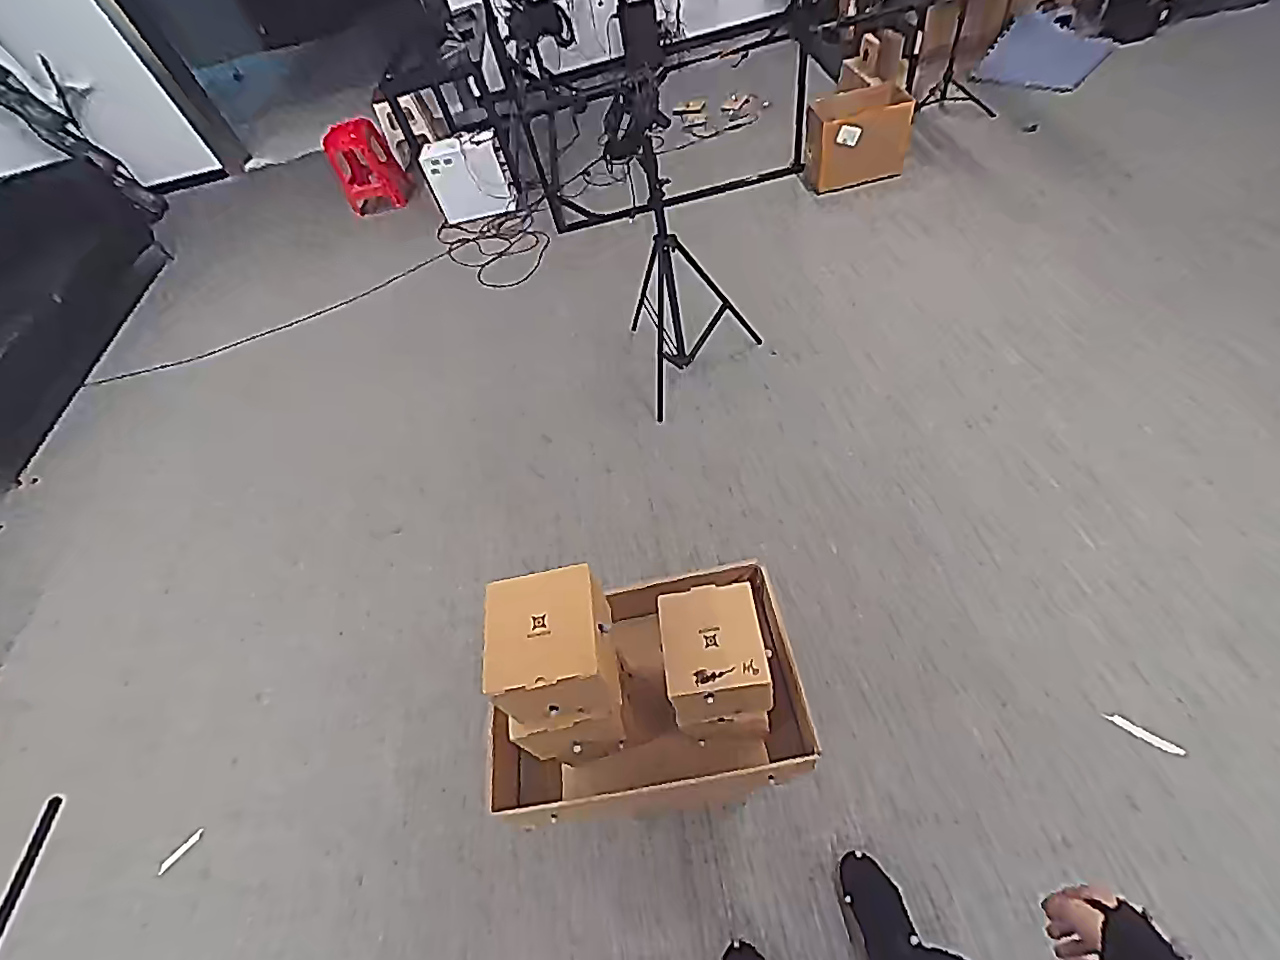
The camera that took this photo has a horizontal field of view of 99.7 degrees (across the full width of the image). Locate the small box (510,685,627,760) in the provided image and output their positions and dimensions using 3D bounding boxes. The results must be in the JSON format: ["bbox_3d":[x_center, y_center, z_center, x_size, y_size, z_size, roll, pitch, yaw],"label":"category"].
[{"bbox_3d":[-0.128,0.377,0.970,0.168,0.176,0.179,-15,53,0],"label":"small box"}]

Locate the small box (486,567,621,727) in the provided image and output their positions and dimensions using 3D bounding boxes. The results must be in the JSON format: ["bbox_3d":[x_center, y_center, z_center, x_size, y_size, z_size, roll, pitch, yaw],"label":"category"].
[{"bbox_3d":[-0.130,0.265,0.849,0.168,0.176,0.179,-13,53,1],"label":"small box"}]

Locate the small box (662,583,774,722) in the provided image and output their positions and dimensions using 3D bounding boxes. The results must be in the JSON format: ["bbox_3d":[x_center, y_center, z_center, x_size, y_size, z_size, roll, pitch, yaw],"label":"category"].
[{"bbox_3d":[0.136,0.307,0.954,0.168,0.176,0.179,-10,52,7],"label":"small box"}]
